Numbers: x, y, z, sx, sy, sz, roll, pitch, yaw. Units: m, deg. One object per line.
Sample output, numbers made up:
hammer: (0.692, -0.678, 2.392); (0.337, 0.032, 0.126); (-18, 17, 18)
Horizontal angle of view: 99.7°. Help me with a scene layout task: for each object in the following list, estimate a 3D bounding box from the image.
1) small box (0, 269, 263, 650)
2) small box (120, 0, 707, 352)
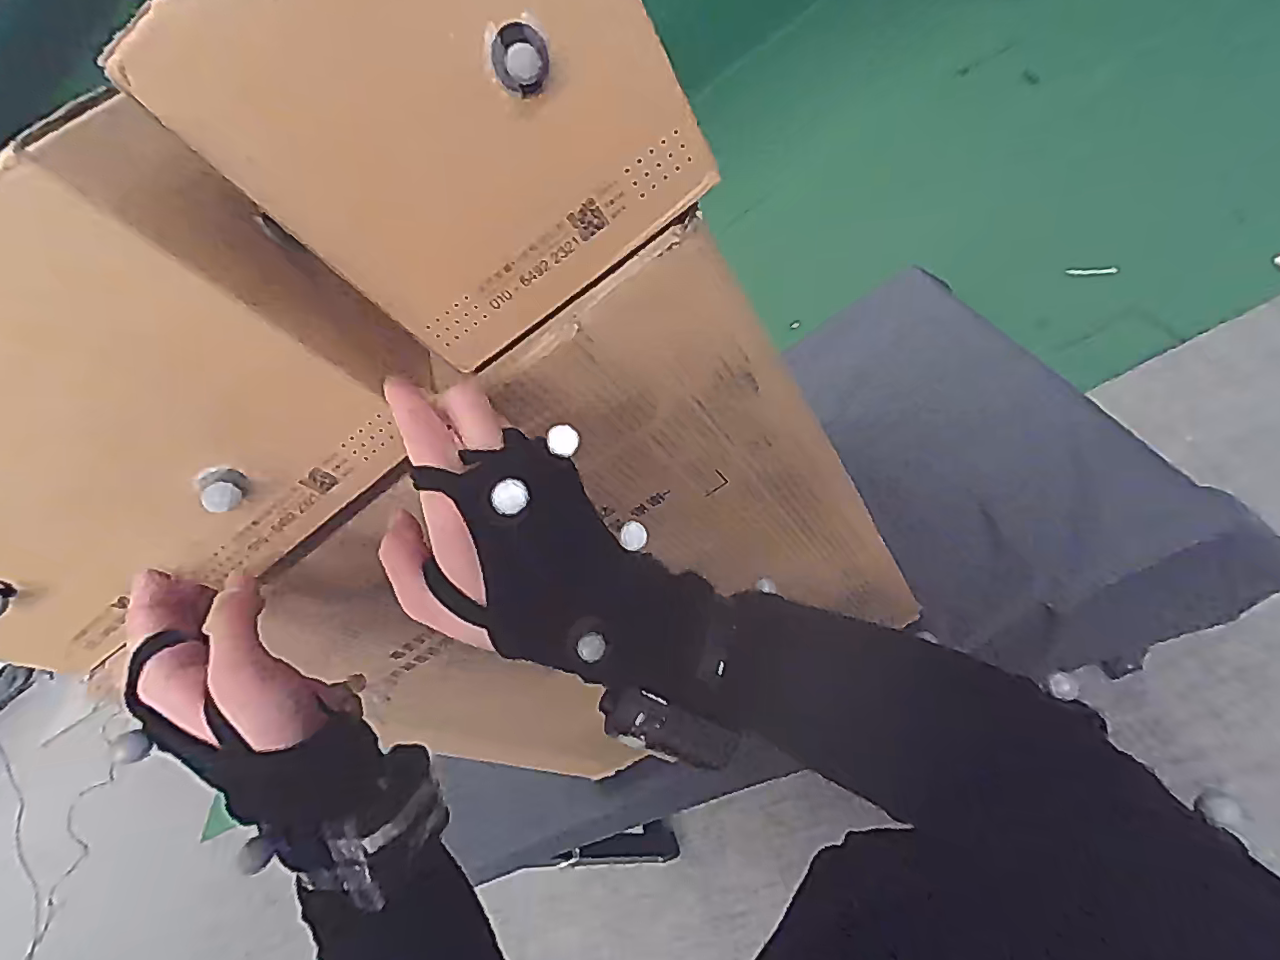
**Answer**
small box: (-0.405, 0.001, 0.377); (0.168, 0.176, 0.179); (-33, 47, 16)
small box: (-0.088, -0.193, 0.275); (0.168, 0.176, 0.179); (-31, 47, 12)
